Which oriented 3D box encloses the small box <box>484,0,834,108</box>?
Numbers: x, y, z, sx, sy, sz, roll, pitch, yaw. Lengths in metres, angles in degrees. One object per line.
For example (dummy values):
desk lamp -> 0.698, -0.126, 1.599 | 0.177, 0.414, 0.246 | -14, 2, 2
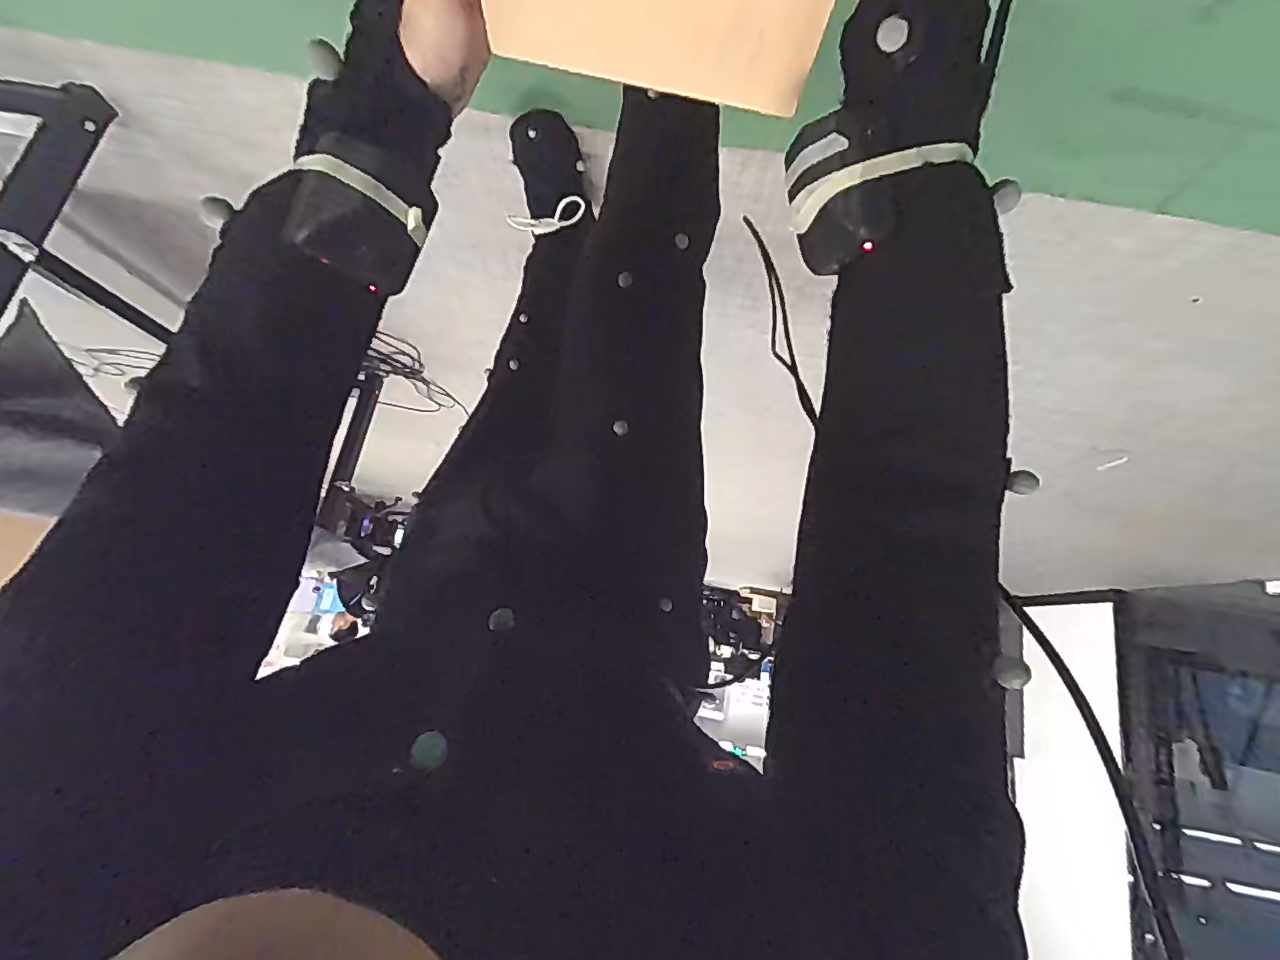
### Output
small box -> 0.024, -0.308, 0.219 | 0.168, 0.176, 0.179 | 12, 164, 1
